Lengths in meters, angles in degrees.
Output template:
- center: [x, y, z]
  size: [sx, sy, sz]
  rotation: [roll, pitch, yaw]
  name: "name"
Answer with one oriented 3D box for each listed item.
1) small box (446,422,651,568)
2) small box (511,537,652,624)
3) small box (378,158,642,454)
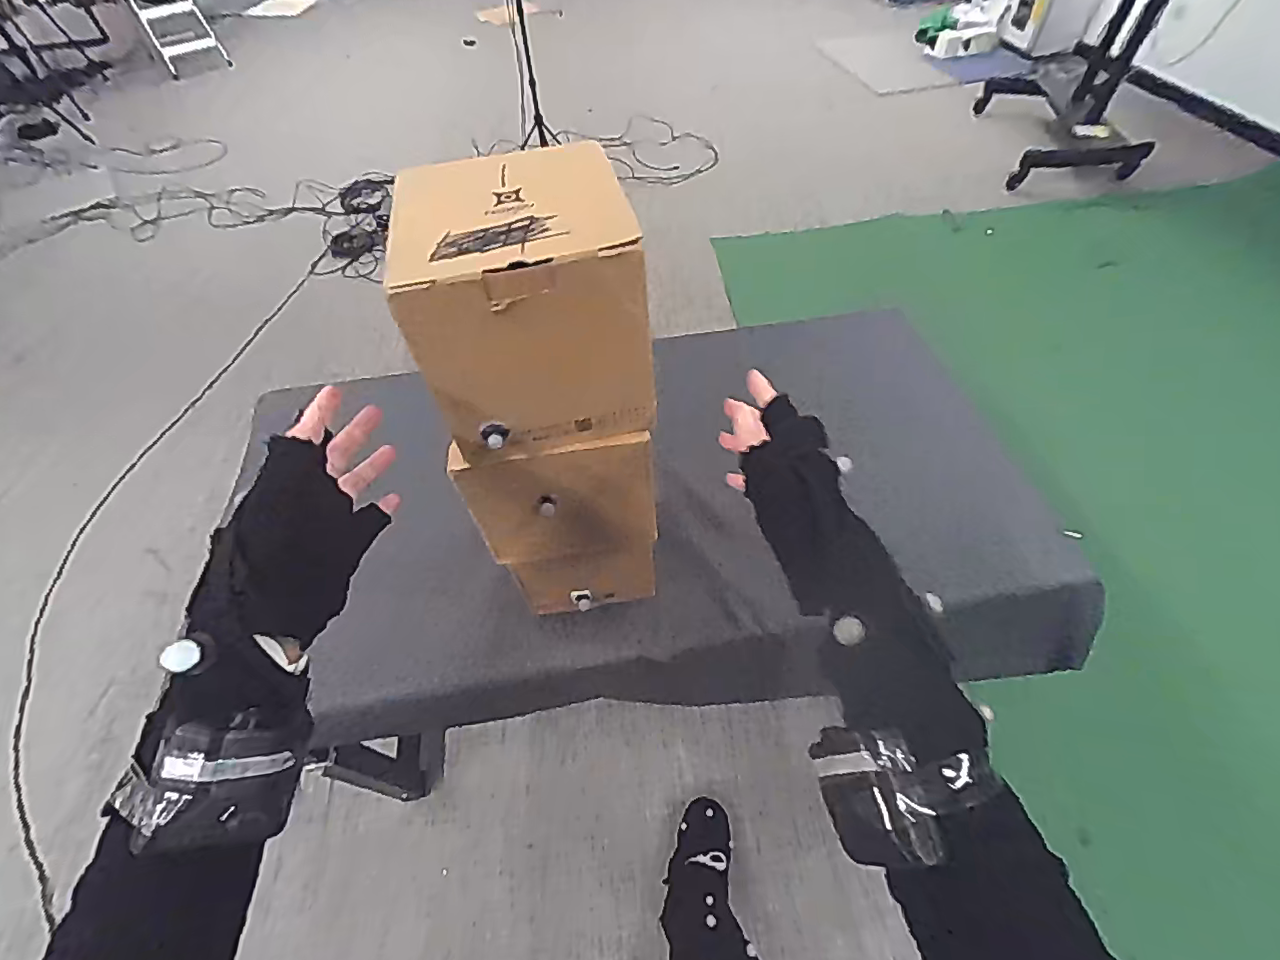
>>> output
- center: [-0.090, -0.024, 0.579]
  size: [0.179, 0.176, 0.168]
  rotation: [-10, 49, -5]
  name: "small box"
- center: [-0.081, 0.064, 0.714]
  size: [0.168, 0.176, 0.179]
  rotation: [-11, 52, -4]
  name: "small box"
- center: [-0.096, -0.138, 0.456]
  size: [0.168, 0.176, 0.179]
  rotation: [-12, 50, -5]
  name: "small box"
